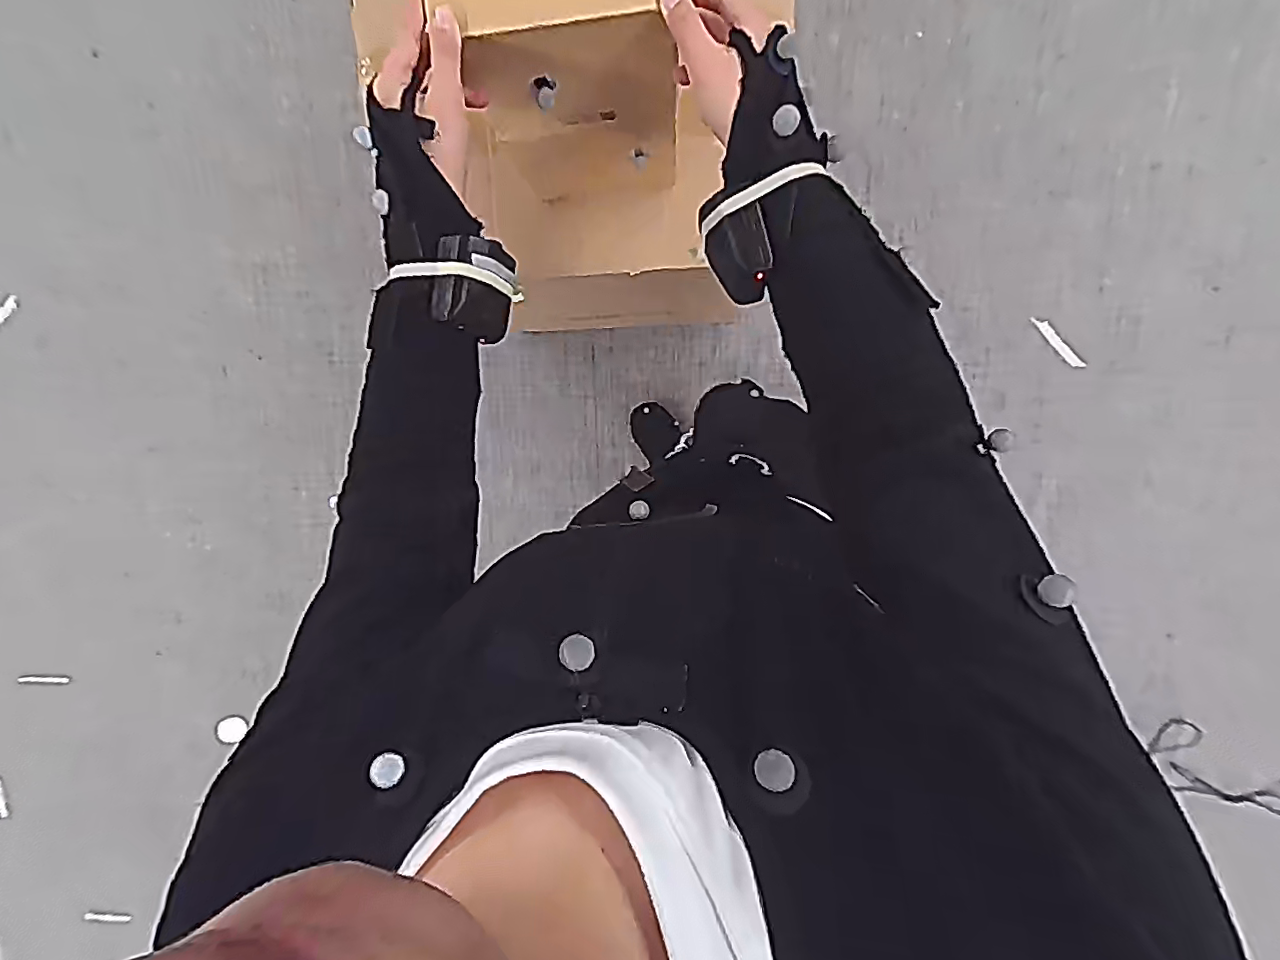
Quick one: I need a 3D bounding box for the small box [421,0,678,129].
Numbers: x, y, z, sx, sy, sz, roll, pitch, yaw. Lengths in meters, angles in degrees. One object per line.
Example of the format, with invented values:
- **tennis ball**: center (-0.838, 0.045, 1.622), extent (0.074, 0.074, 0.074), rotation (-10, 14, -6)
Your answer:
- **small box**: center (-0.058, -0.391, 0.404), extent (0.168, 0.176, 0.179), rotation (-4, 100, 5)
